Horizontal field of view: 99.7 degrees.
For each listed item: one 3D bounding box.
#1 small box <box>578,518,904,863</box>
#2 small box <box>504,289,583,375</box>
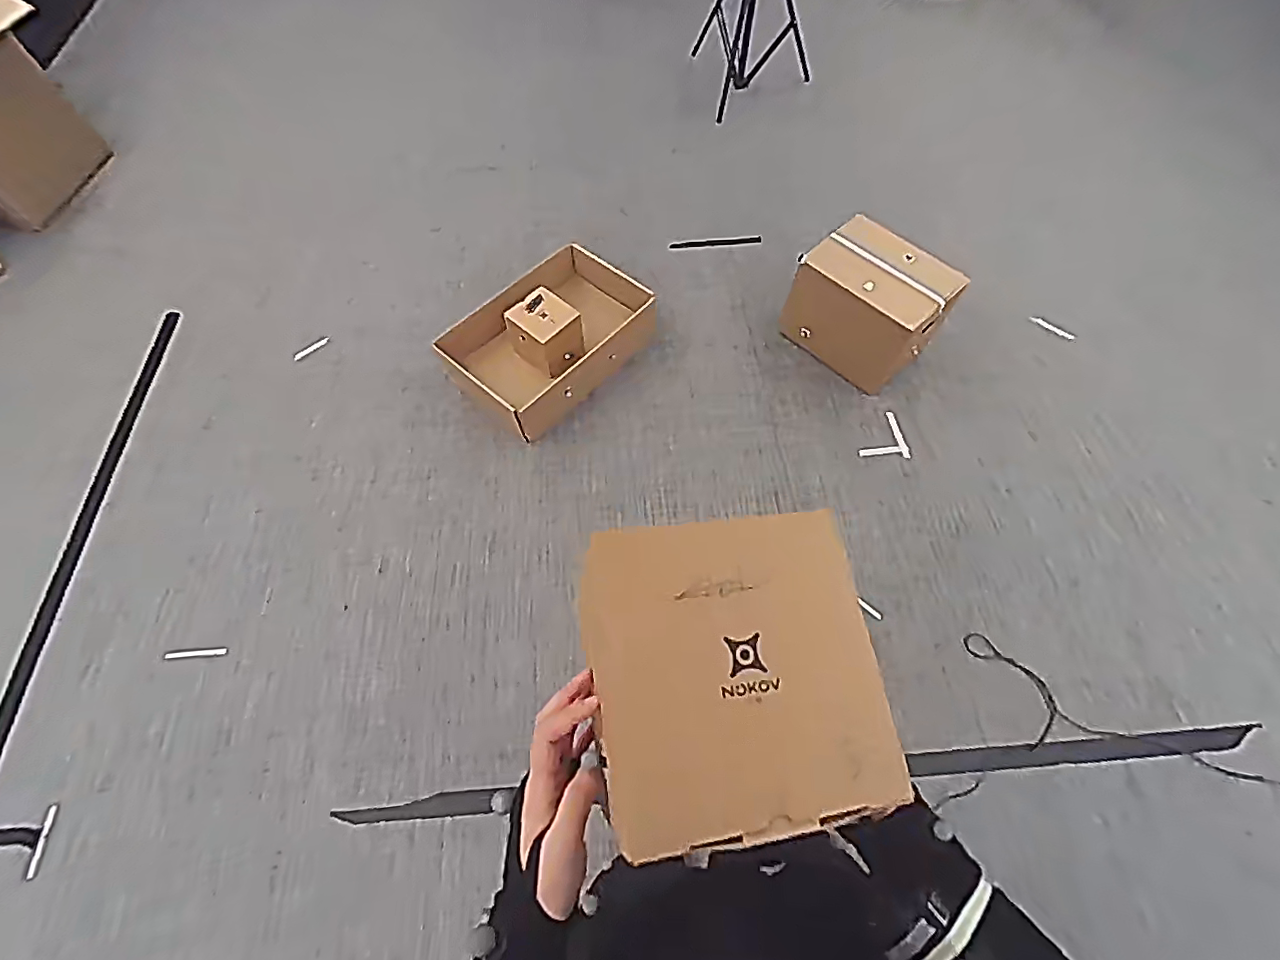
[{"bbox_3d":[0.048,0.141,0.395,0.168,0.176,0.179,-5,68,-12],"label":"small box"},{"bbox_3d":[-0.304,-0.469,1.735,0.179,0.176,0.168,38,69,17],"label":"small box"}]
